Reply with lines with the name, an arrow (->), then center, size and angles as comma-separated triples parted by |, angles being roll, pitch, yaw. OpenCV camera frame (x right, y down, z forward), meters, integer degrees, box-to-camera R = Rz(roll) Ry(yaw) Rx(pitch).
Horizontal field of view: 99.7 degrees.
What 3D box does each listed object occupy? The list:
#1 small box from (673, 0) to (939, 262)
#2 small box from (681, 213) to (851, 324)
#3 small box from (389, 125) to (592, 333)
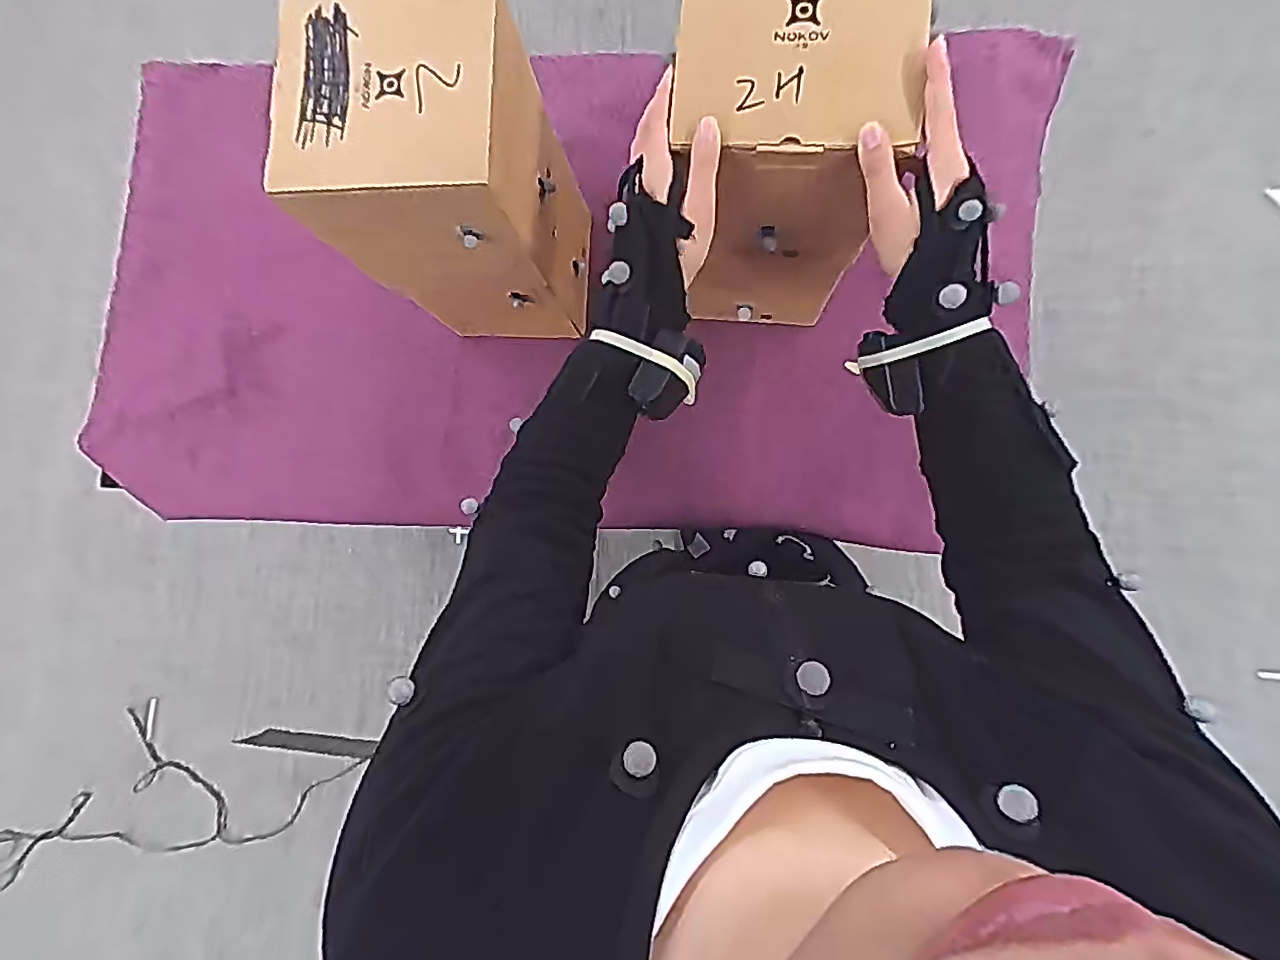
small box -> 0.121, -0.303, 0.436 | 0.168, 0.176, 0.179 | 6, 86, 8
small box -> 0.138, -0.293, 0.601 | 0.168, 0.176, 0.179 | 6, 87, 7
small box -> -0.163, -0.281, 0.638 | 0.179, 0.176, 0.168 | 2, 86, 6
